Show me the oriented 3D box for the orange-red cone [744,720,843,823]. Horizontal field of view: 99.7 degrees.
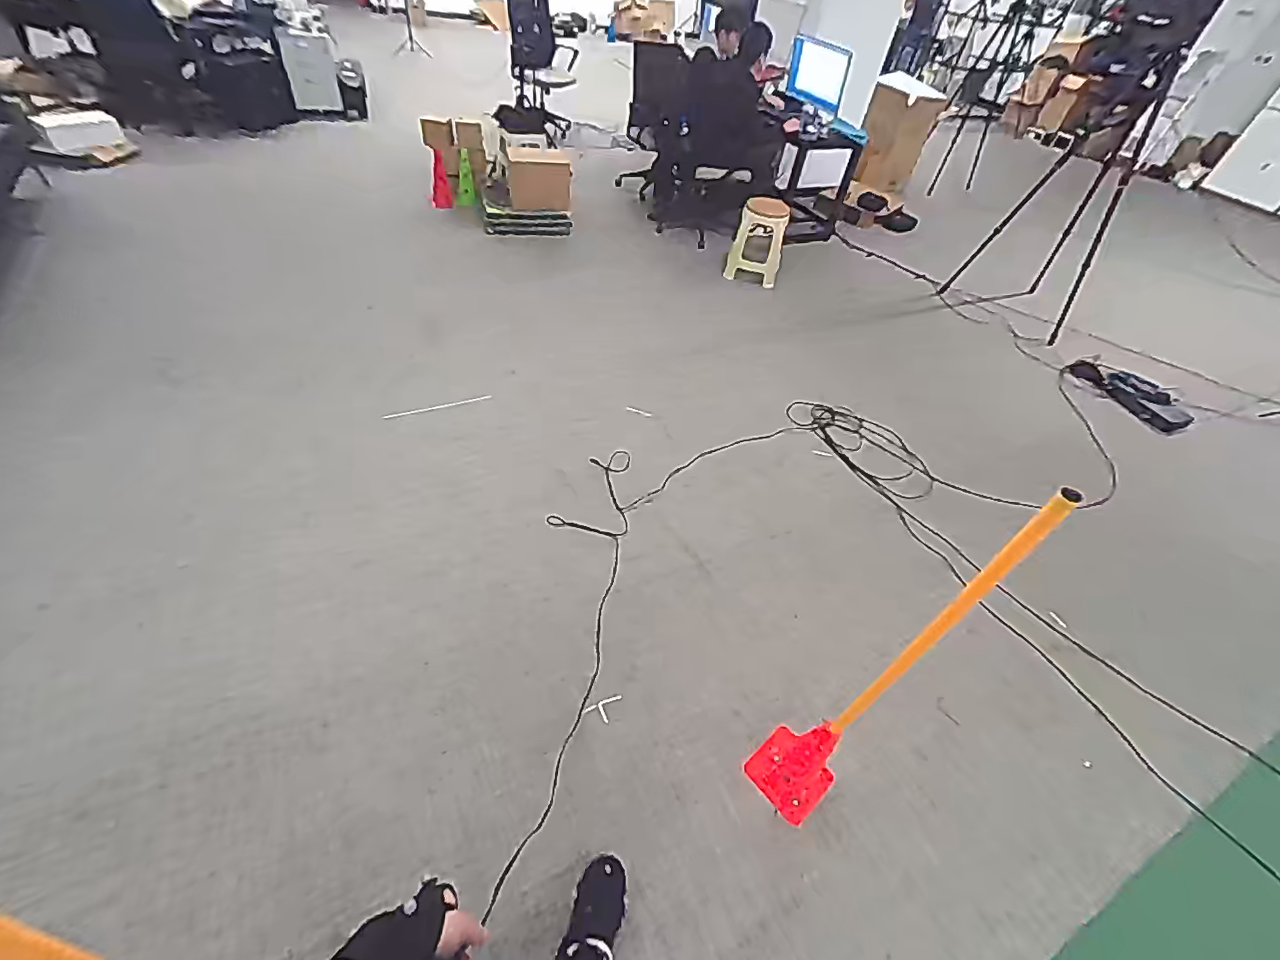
[{"bbox_3d":[0.441,0.708,1.410,0.199,0.360,0.198,-27,57,-32],"label":"orange-red cone"}]
